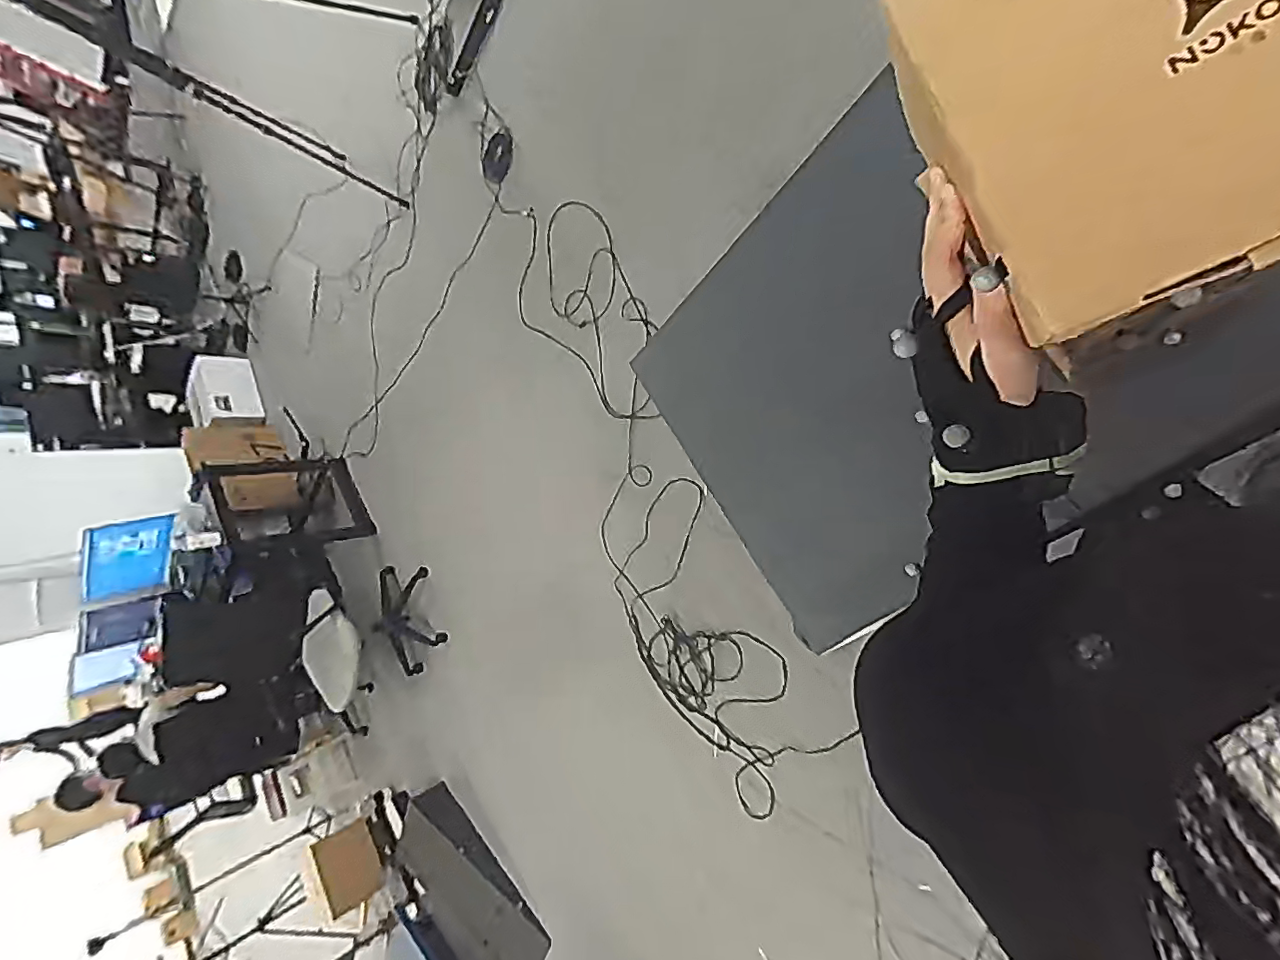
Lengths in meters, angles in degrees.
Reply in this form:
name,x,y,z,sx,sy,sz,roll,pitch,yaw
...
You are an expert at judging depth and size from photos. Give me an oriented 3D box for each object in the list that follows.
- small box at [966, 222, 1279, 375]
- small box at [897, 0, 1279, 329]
name,x,y,z,sx,sy,sz,roll,pitch,yaw
small box,0.453,-0.218,0.518,0.168,0.176,0.179,-39,70,35
small box,0.231,-0.184,0.239,0.168,0.176,0.179,-27,87,33
